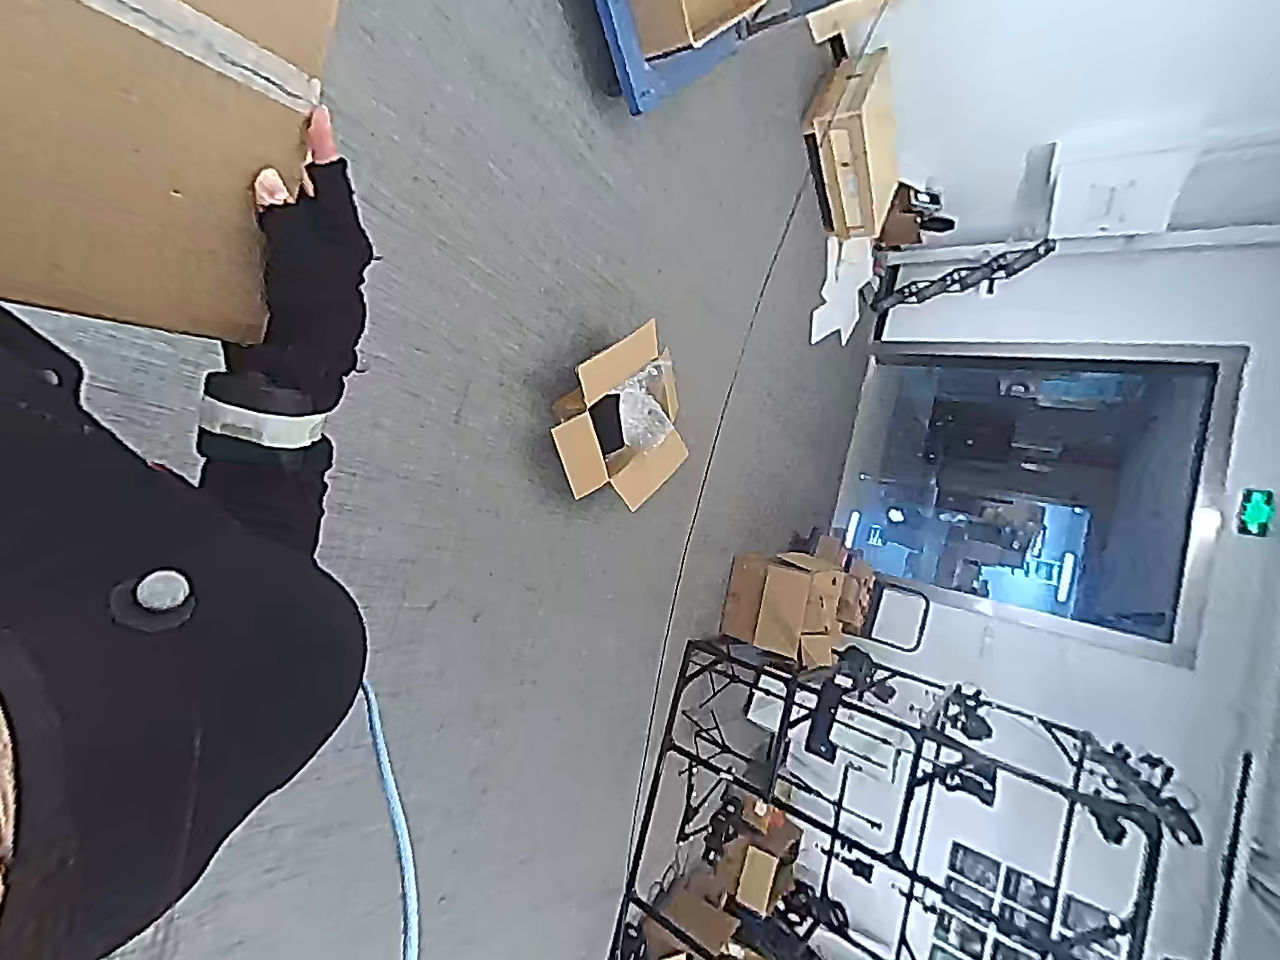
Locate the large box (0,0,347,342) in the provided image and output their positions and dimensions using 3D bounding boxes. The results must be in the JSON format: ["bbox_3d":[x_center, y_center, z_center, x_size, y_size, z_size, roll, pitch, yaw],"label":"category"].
[{"bbox_3d":[-0.419,-0.302,0.252,0.408,0.320,0.320,2,120,-53],"label":"large box"}]
